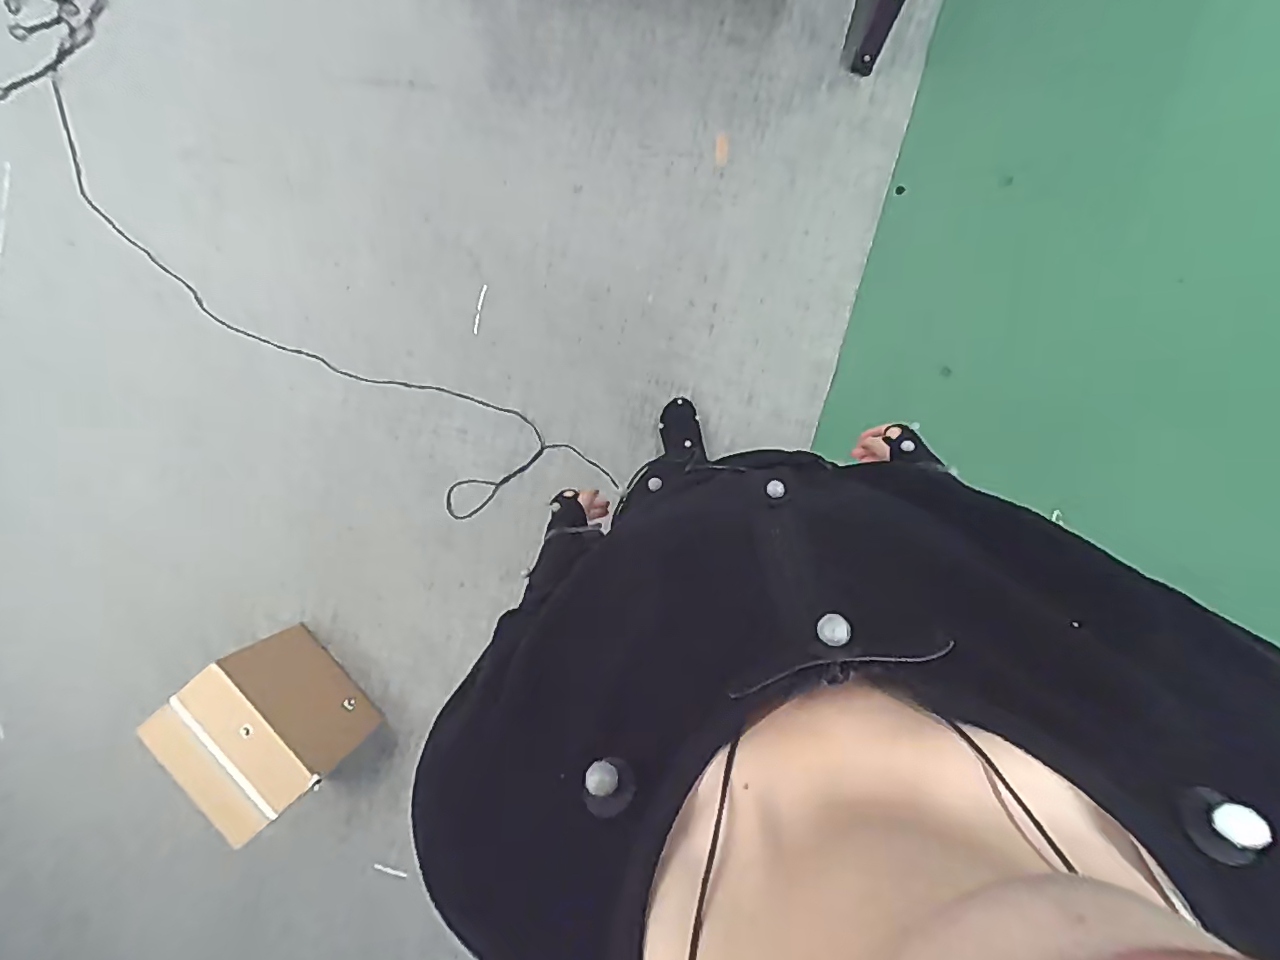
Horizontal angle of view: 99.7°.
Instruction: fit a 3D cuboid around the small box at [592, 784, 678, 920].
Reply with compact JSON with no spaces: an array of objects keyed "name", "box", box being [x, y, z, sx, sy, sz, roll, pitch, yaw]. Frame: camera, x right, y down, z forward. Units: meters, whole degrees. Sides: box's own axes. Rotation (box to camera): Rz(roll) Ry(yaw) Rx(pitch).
[{"name":"small box","box":[-0.006,0.786,1.161,0.168,0.176,0.179,2,93,6]}]
